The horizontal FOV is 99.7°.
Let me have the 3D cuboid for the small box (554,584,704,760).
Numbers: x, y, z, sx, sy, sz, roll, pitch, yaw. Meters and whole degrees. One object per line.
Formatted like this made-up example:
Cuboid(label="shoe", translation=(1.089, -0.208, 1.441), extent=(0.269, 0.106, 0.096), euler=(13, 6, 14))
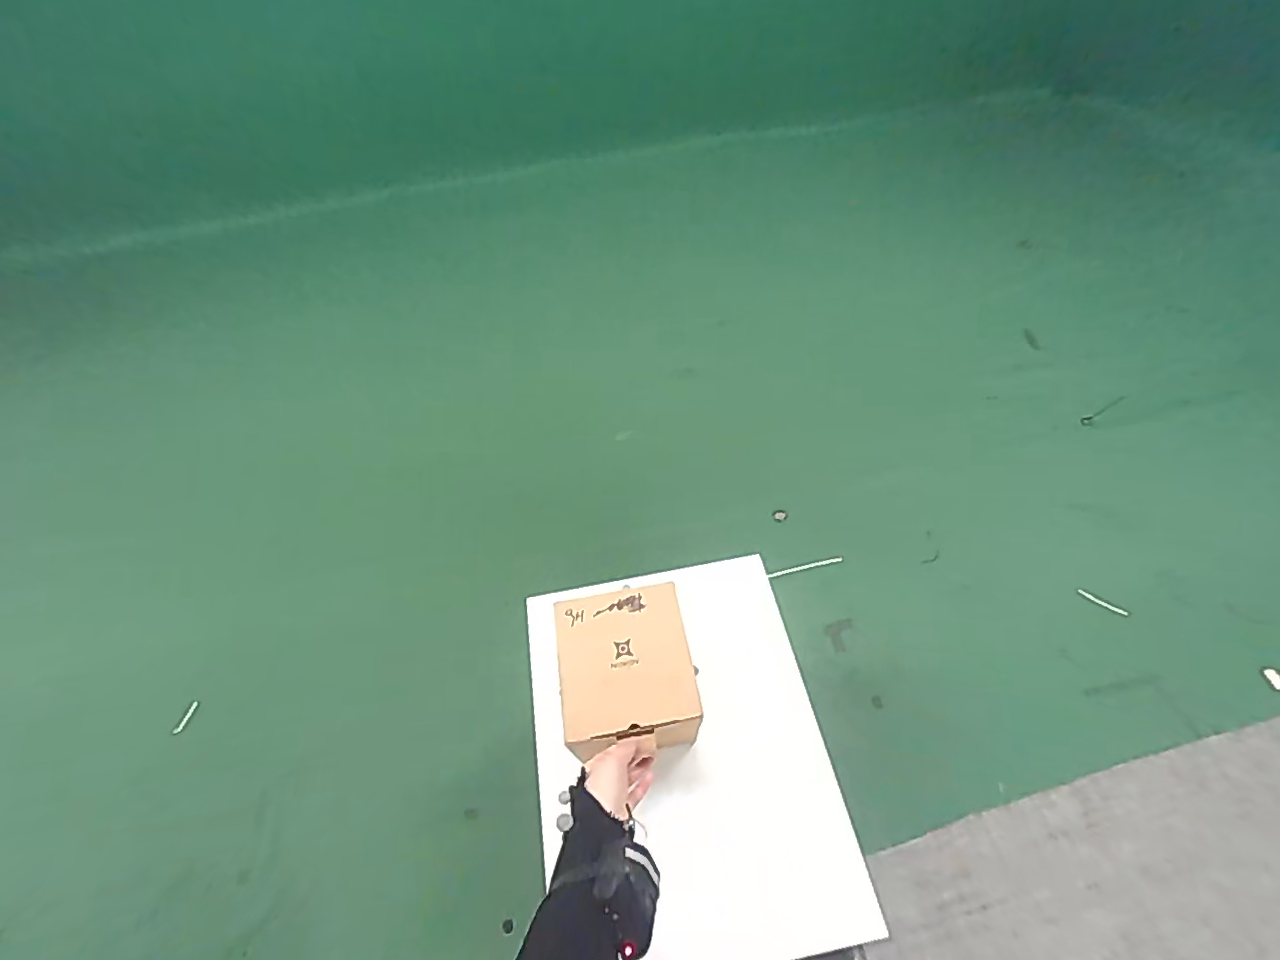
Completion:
Cuboid(label="small box", translation=(-0.015, 0.263, 0.720), extent=(0.168, 0.176, 0.179), euler=(-9, 56, -4))
